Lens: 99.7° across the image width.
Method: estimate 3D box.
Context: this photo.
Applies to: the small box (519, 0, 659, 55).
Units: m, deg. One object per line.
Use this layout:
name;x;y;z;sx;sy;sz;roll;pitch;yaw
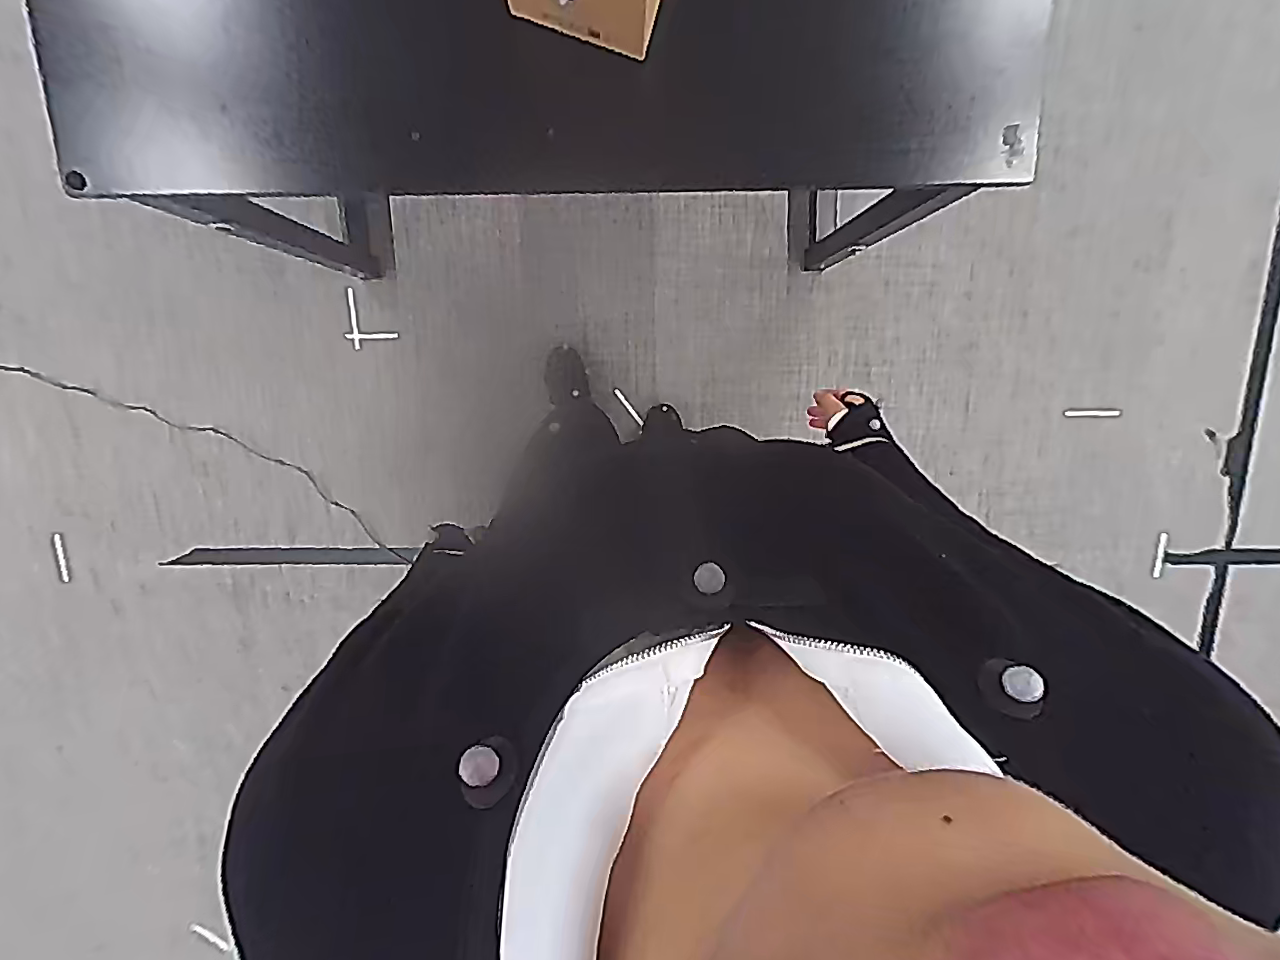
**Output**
small box;-0.047;-0.597;0.560;0.168;0.176;0.179;17;100;-5
